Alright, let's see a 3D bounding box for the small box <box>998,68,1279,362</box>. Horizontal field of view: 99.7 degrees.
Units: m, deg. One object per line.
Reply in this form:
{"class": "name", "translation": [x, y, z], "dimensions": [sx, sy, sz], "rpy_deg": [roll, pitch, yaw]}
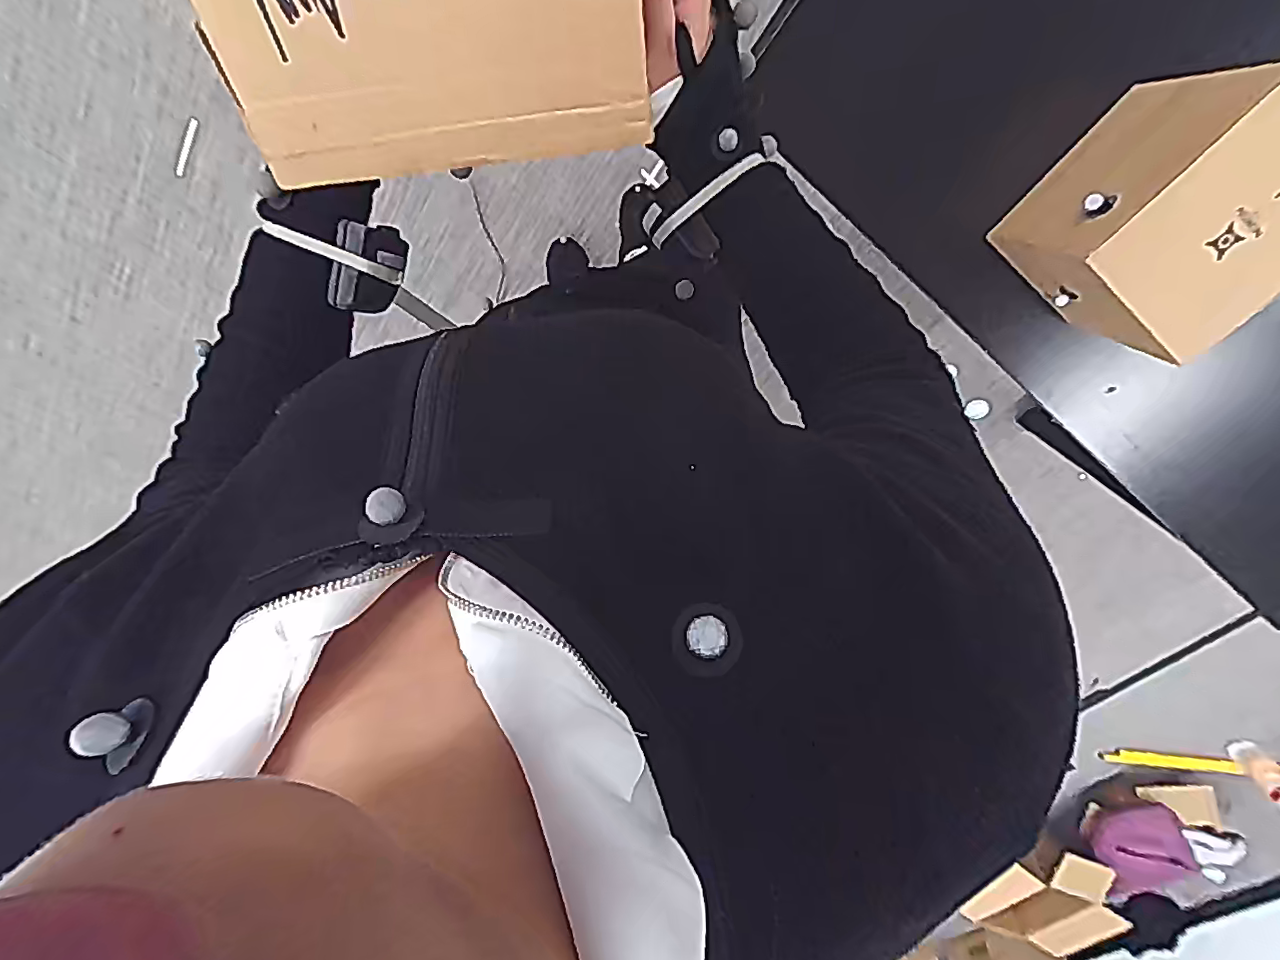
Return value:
{"class": "small box", "translation": [0.502, -0.254, 0.538], "dimensions": [0.168, 0.176, 0.179], "rpy_deg": [33, 116, -17]}

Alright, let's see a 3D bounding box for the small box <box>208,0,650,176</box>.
{"class": "small box", "translation": [-0.090, -0.264, 0.258], "dimensions": [0.179, 0.176, 0.168], "rpy_deg": [-6, 134, 2]}
